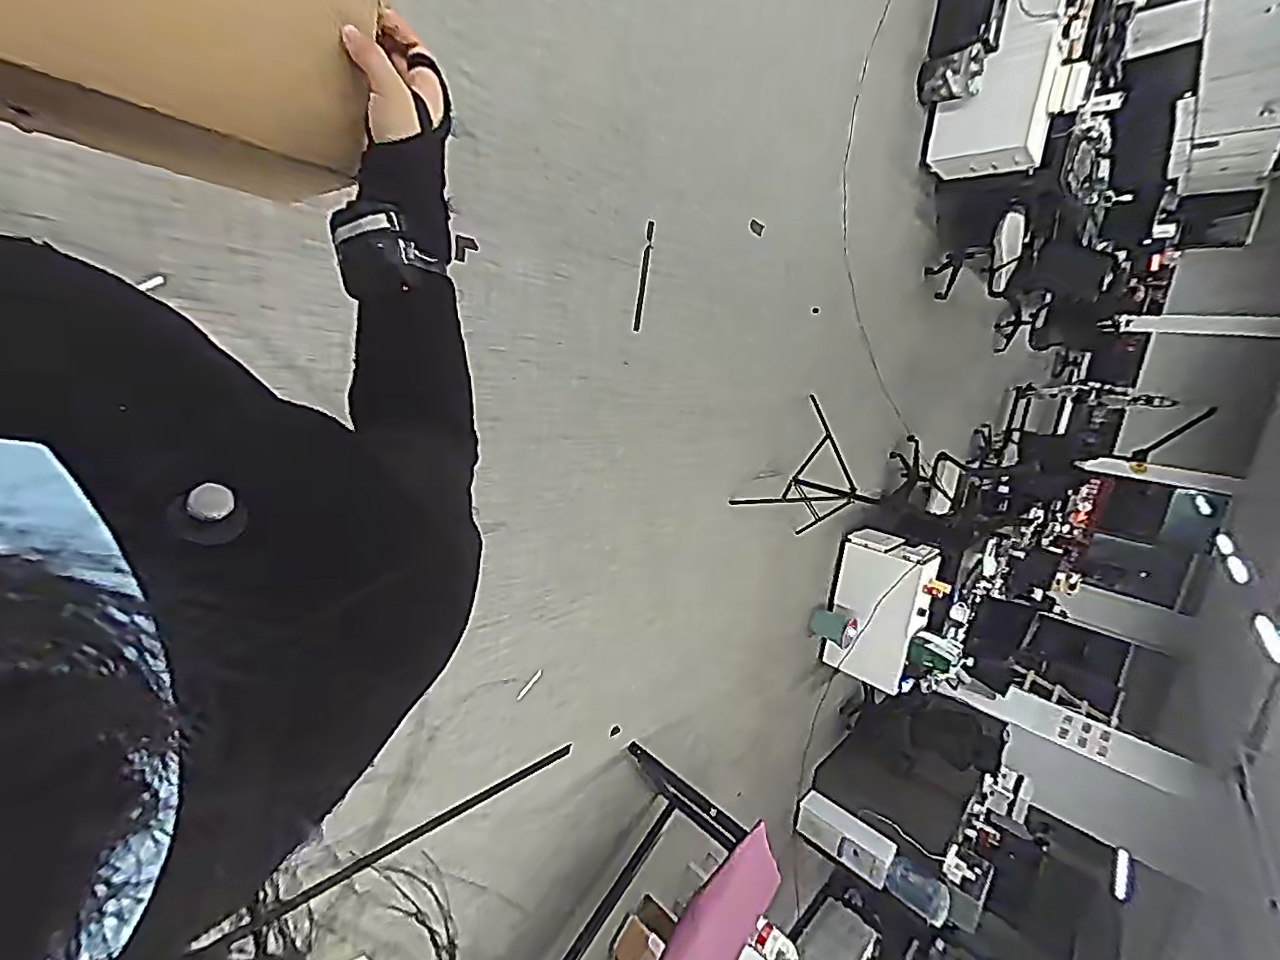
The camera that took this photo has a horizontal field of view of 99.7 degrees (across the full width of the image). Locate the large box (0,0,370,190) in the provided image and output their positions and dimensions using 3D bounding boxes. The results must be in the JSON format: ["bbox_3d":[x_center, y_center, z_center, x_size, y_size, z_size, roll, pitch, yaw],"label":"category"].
[{"bbox_3d":[-0.446,-0.443,0.387,0.408,0.320,0.320,0,107,-42],"label":"large box"}]
